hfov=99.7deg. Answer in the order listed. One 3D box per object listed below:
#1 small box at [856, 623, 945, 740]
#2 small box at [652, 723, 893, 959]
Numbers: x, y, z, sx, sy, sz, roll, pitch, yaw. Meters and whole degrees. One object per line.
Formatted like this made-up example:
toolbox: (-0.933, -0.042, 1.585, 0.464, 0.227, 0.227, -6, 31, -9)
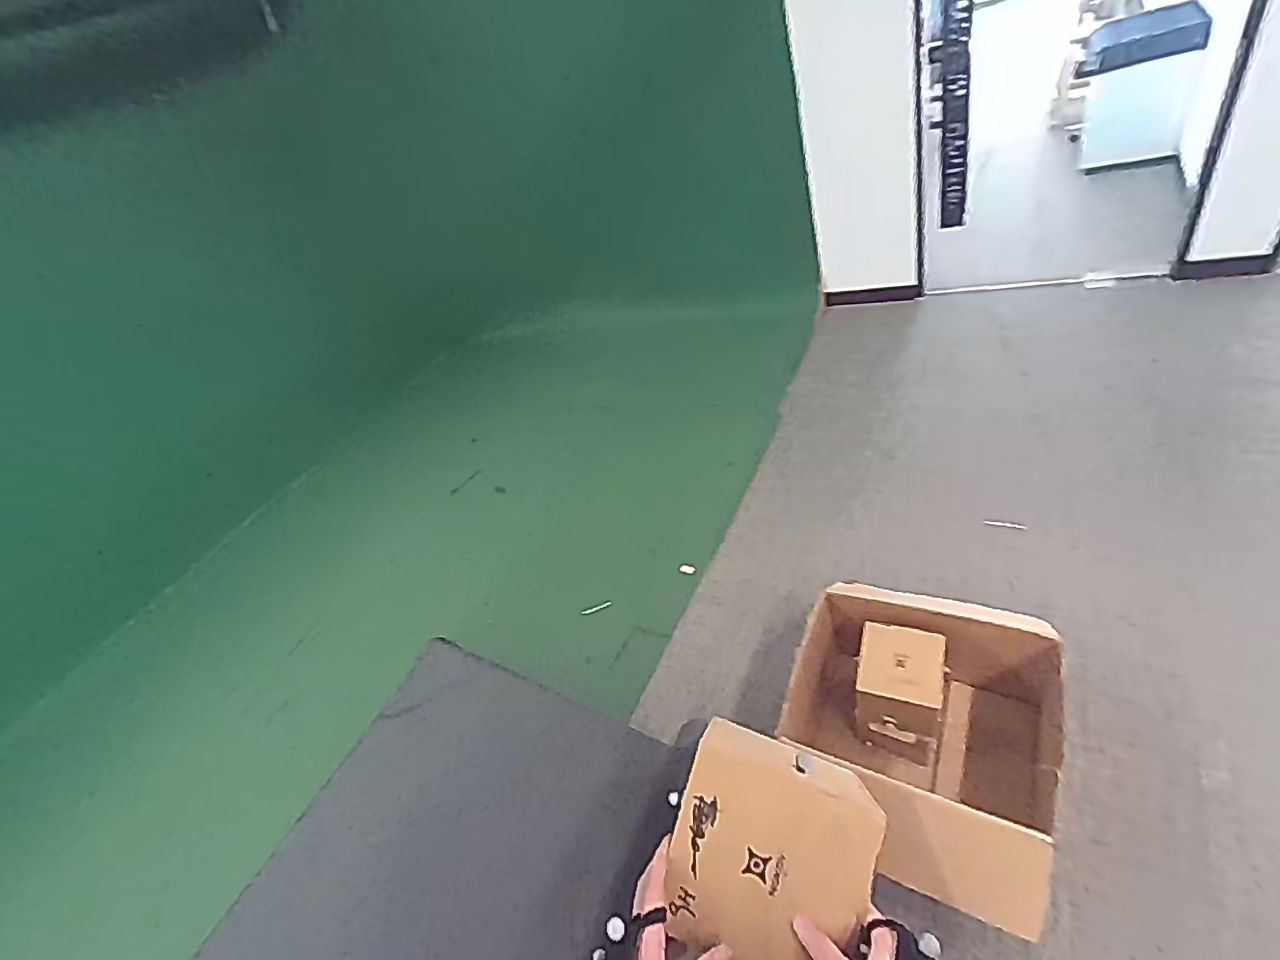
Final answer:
small box: (0.591, 0.457, 1.230, 0.168, 0.176, 0.179, 4, 48, 28)
small box: (0.131, 0.368, 0.557, 0.179, 0.176, 0.168, 17, 76, 16)
